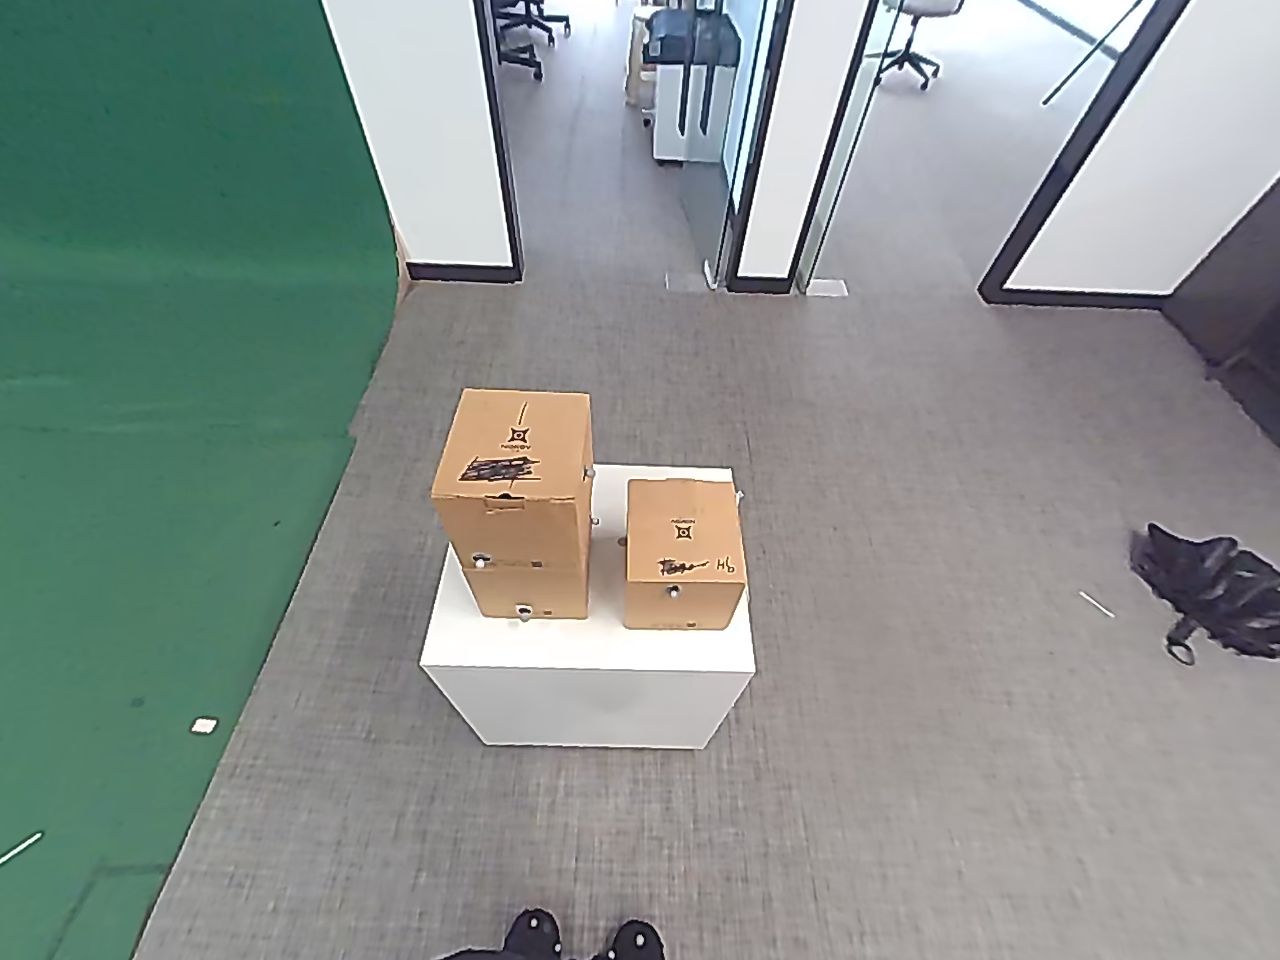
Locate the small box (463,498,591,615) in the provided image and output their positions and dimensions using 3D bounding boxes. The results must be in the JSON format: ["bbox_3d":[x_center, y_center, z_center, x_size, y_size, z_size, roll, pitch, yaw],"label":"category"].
[{"bbox_3d":[-0.162,0.095,0.841,0.168,0.176,0.179,0,54,-3],"label":"small box"}]

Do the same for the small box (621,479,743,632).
[{"bbox_3d":[0.056,0.120,0.852,0.168,0.176,0.179,2,51,-2],"label":"small box"}]

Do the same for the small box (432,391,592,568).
[{"bbox_3d":[-0.155,0.004,0.725,0.168,0.176,0.179,3,51,-1],"label":"small box"}]
